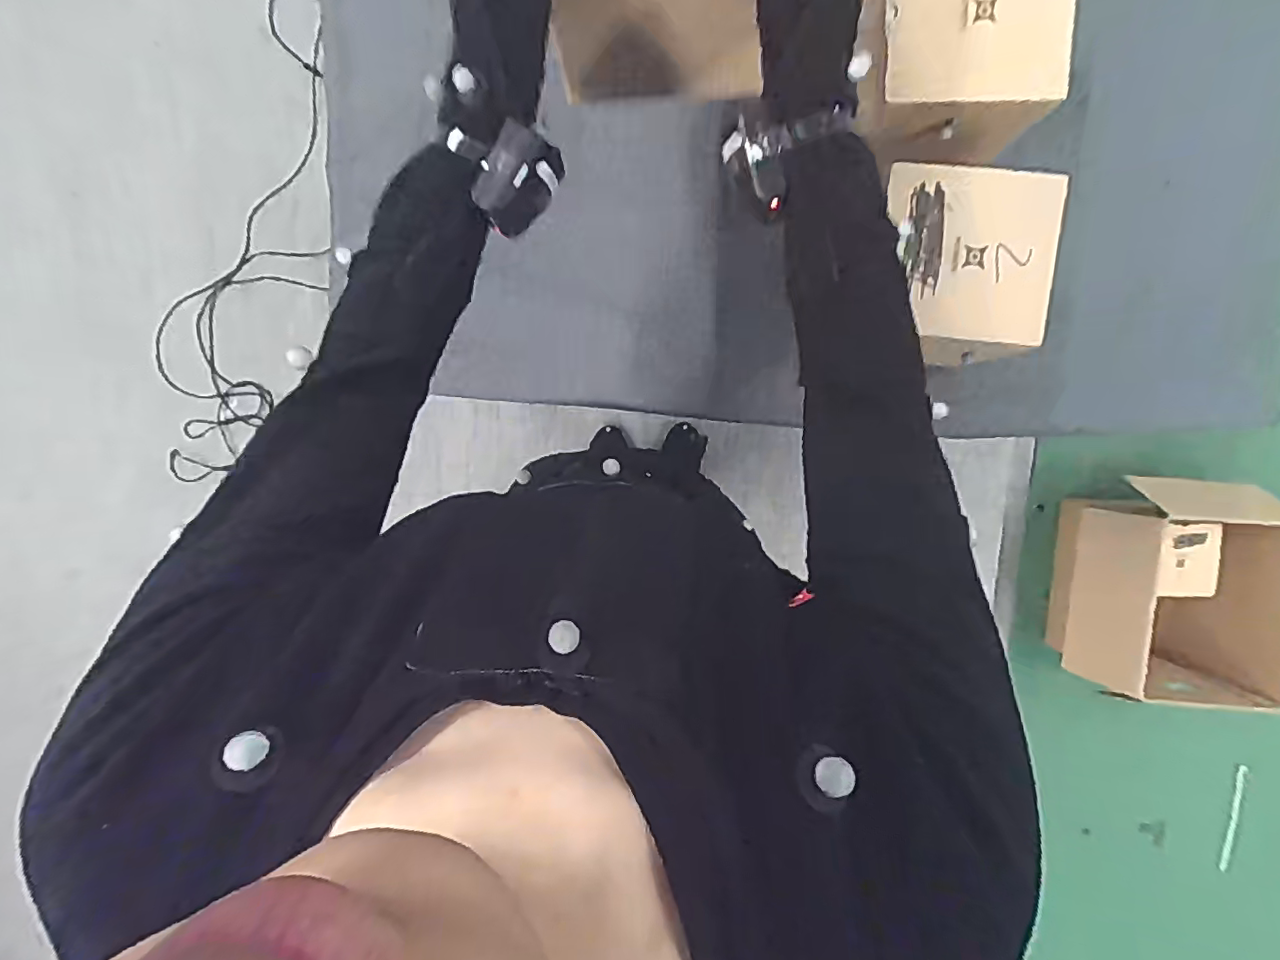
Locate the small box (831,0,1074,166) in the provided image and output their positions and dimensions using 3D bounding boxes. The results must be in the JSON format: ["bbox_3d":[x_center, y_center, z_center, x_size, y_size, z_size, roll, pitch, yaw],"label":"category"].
[{"bbox_3d":[0.322,-0.461,0.584,0.179,0.176,0.168,0,98,4],"label":"small box"}]
